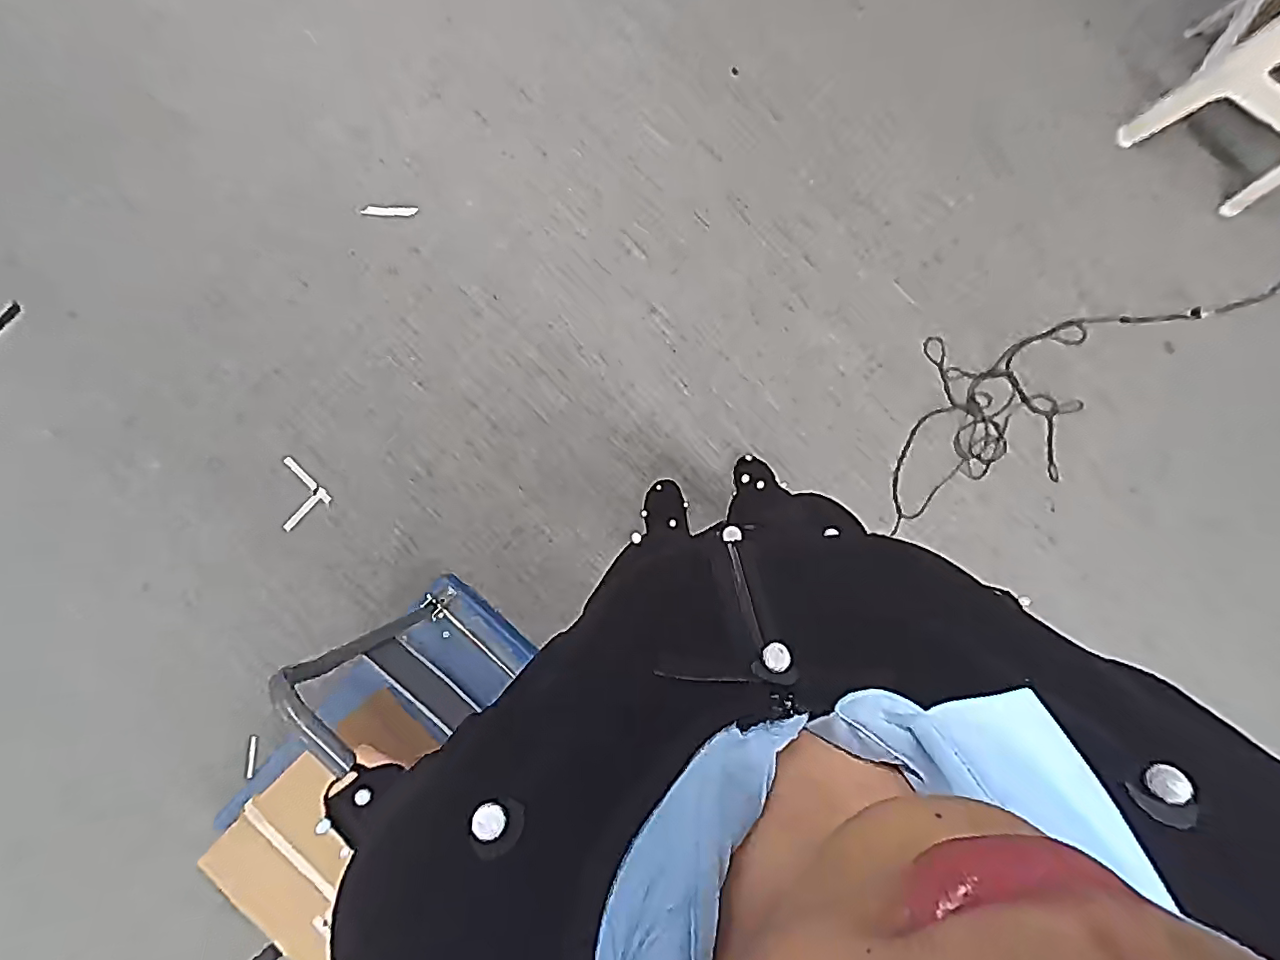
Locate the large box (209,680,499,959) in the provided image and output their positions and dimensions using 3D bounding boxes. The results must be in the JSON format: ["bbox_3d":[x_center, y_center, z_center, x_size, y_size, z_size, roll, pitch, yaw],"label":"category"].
[{"bbox_3d":[-0.592,0.733,1.196,0.408,0.320,0.320,45,91,0],"label":"large box"}]
